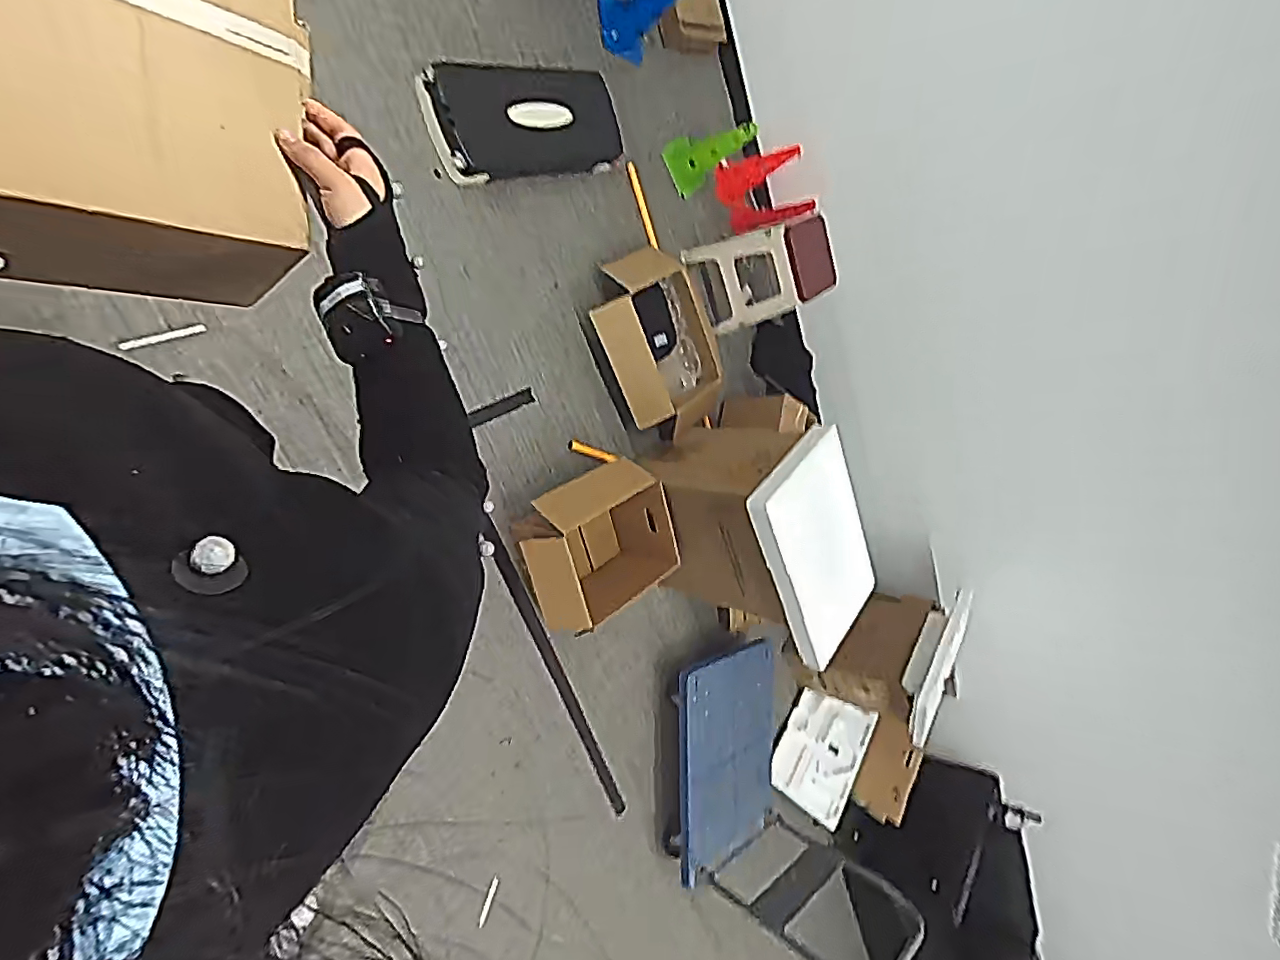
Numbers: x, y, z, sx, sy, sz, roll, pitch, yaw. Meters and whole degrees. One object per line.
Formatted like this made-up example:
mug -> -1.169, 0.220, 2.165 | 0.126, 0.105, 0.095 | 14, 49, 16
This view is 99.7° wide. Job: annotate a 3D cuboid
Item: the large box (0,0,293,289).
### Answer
large box -> -0.551, -0.355, 0.429 | 0.408, 0.320, 0.320 | -7, 98, -43
